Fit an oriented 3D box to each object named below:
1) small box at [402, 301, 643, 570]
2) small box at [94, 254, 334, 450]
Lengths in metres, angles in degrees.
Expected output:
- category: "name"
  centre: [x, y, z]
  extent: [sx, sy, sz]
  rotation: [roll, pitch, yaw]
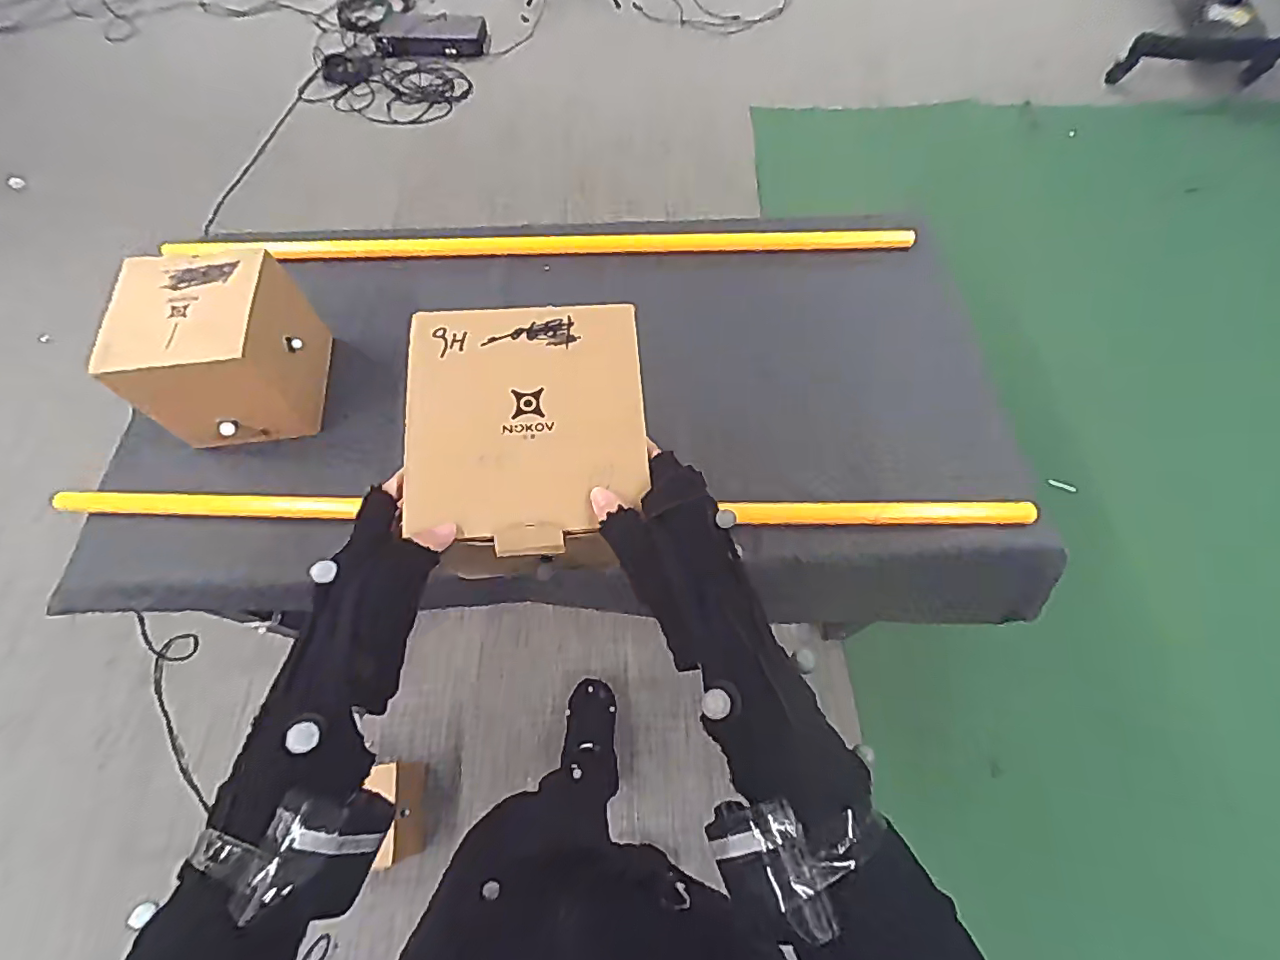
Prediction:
- category: "small box"
  centre: [-0.087, -0.022, 0.461]
  extent: [0.168, 0.176, 0.179]
  rotation: [-7, 72, -3]
- category: "small box"
  centre: [-0.525, -0.160, 0.701]
  extent: [0.168, 0.176, 0.179]
  rotation: [-7, 64, -3]
